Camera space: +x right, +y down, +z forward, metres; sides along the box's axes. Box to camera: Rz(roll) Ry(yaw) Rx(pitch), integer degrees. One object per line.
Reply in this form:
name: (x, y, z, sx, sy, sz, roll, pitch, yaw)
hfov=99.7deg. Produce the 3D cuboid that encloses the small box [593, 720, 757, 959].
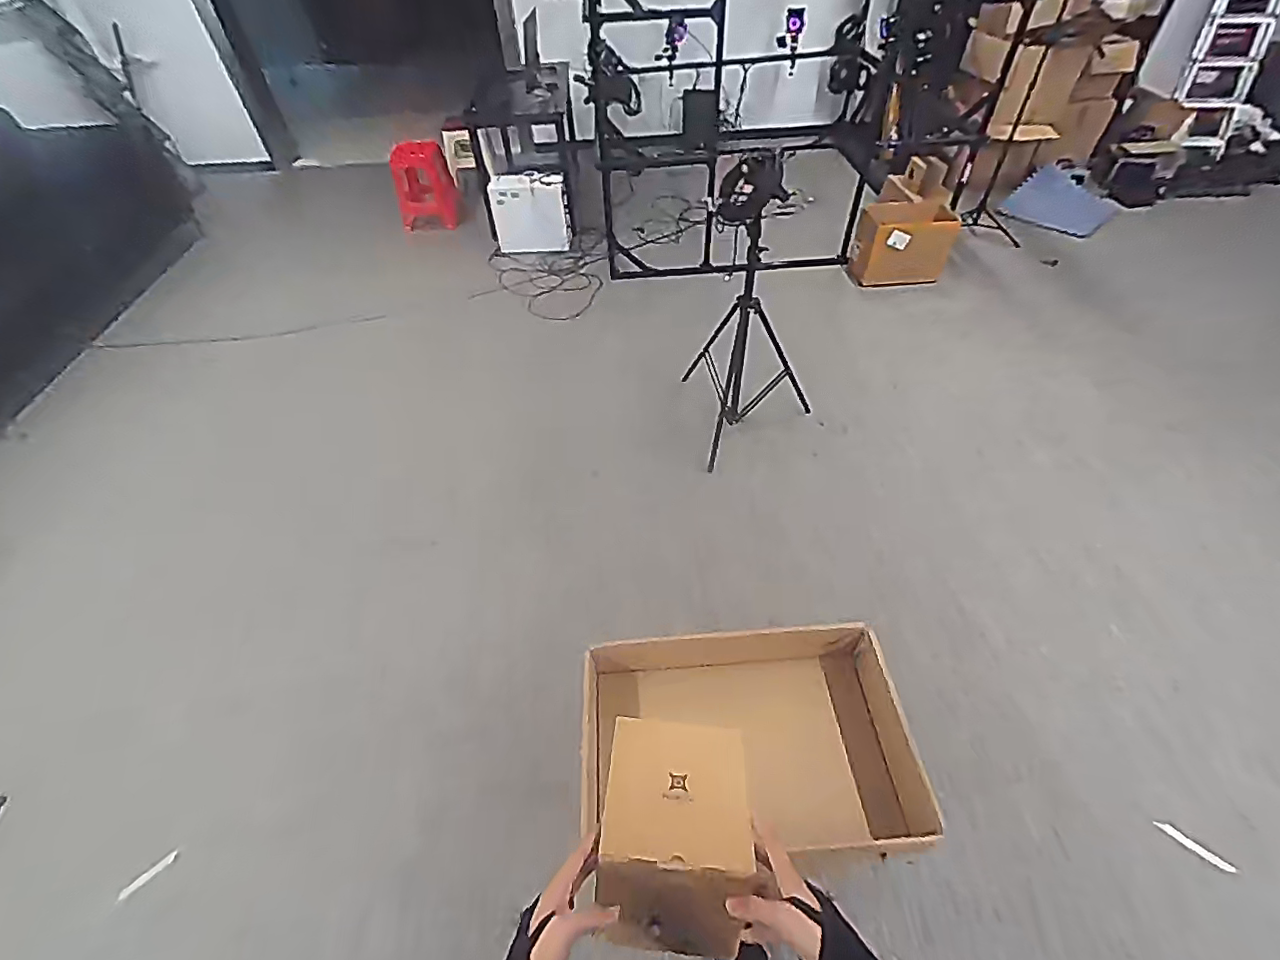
small box: (0.037, 0.428, 0.655, 0.168, 0.176, 0.179, 6, 26, 1)
